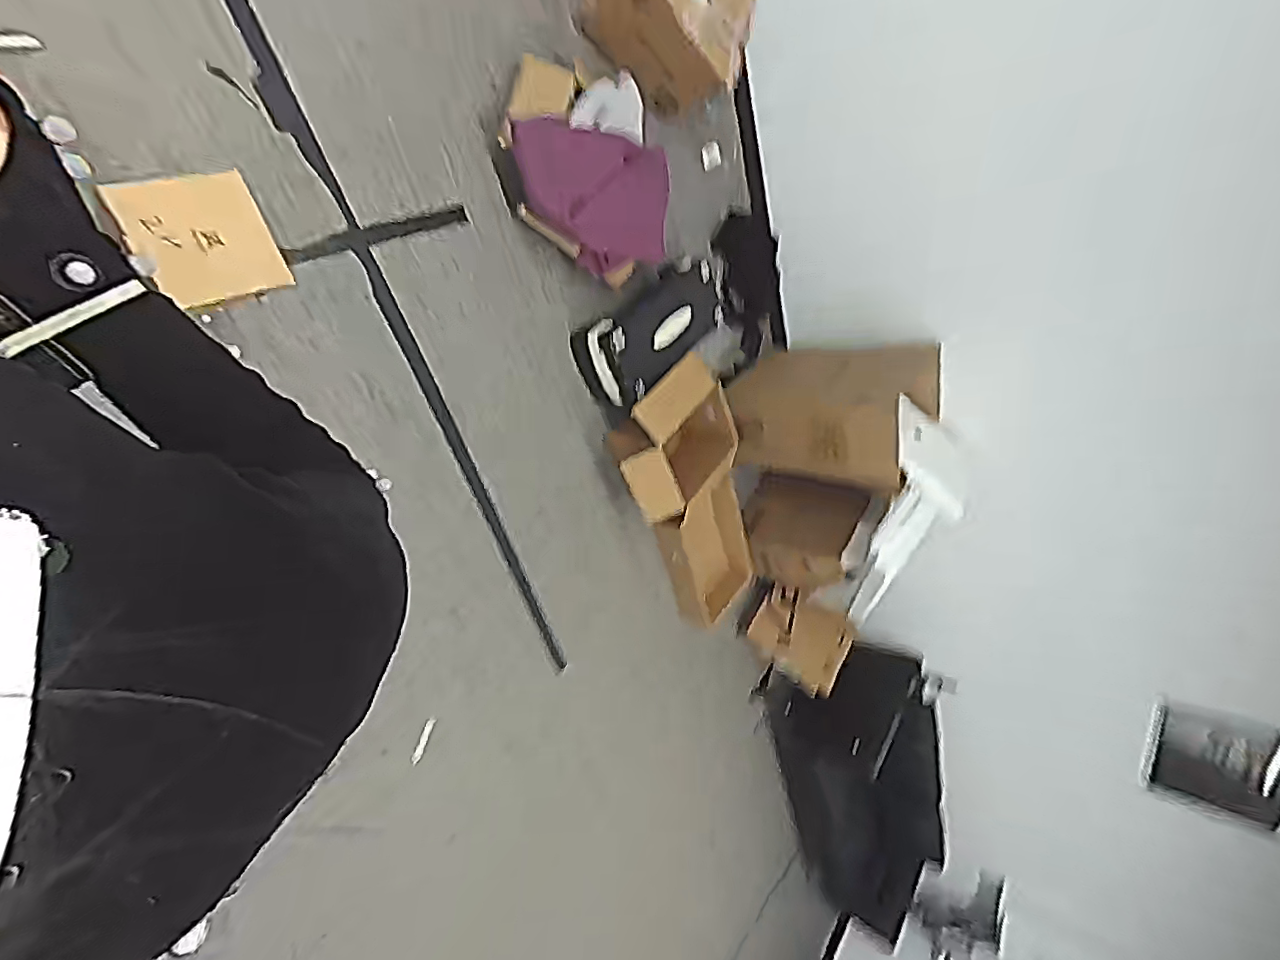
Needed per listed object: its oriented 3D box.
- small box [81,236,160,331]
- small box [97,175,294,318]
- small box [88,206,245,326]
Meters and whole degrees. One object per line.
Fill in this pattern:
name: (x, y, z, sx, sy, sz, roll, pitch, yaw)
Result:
small box: (-0.938, -0.405, 1.061, 0.179, 0.176, 0.168, -43, 126, -33)
small box: (-0.693, -0.360, 0.845, 0.179, 0.176, 0.168, -35, 121, -38)
small box: (-0.817, -0.384, 0.952, 0.168, 0.176, 0.179, -39, 124, -36)
